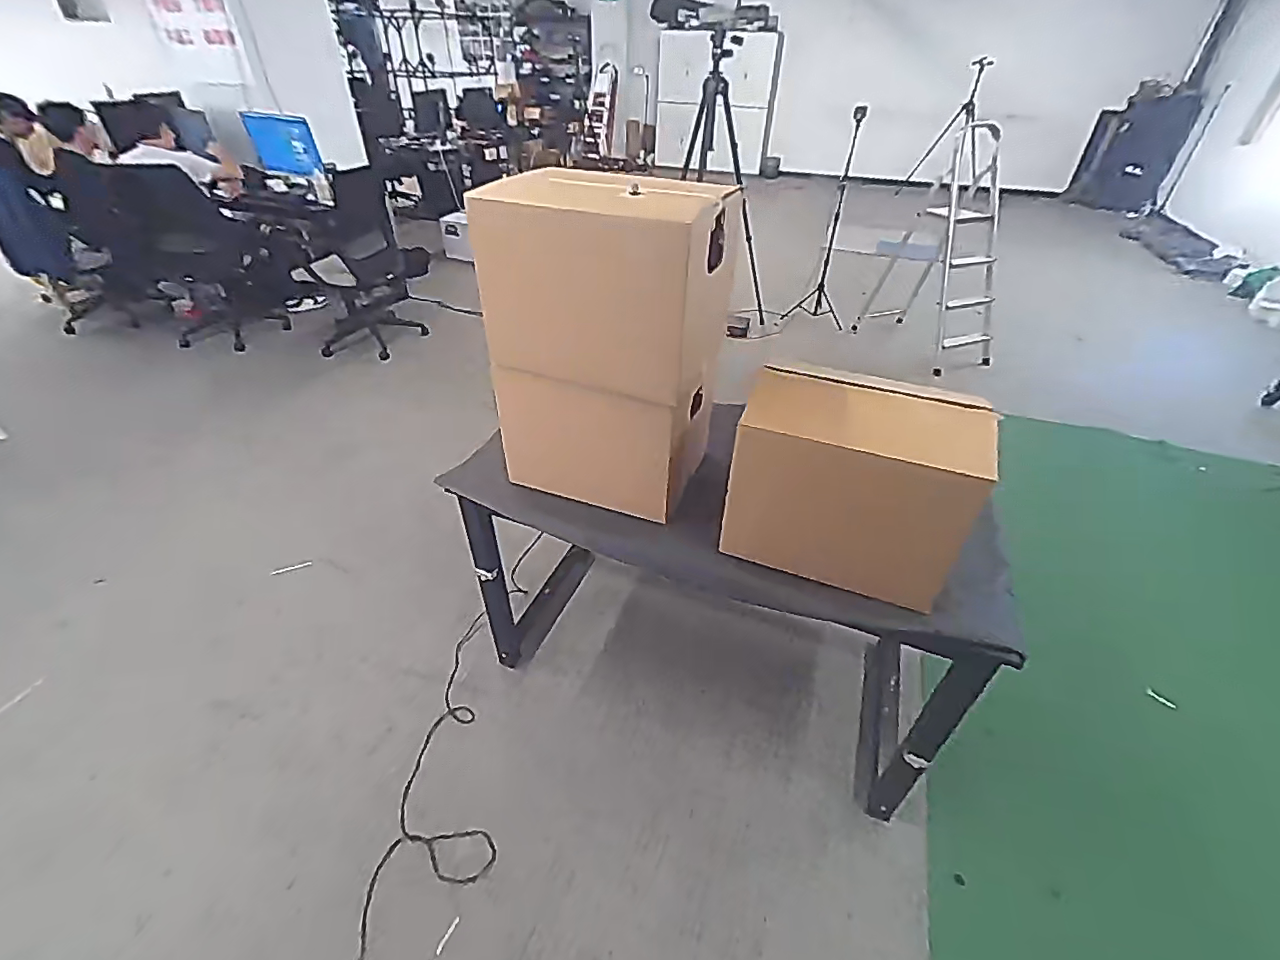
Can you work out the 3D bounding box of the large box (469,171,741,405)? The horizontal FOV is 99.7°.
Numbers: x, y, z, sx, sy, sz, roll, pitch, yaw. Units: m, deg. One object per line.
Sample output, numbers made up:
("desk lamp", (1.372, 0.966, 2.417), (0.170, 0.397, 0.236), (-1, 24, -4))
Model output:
("large box", (-0.057, -0.383, 1.048), (0.408, 0.320, 0.320), (16, 41, 16))
